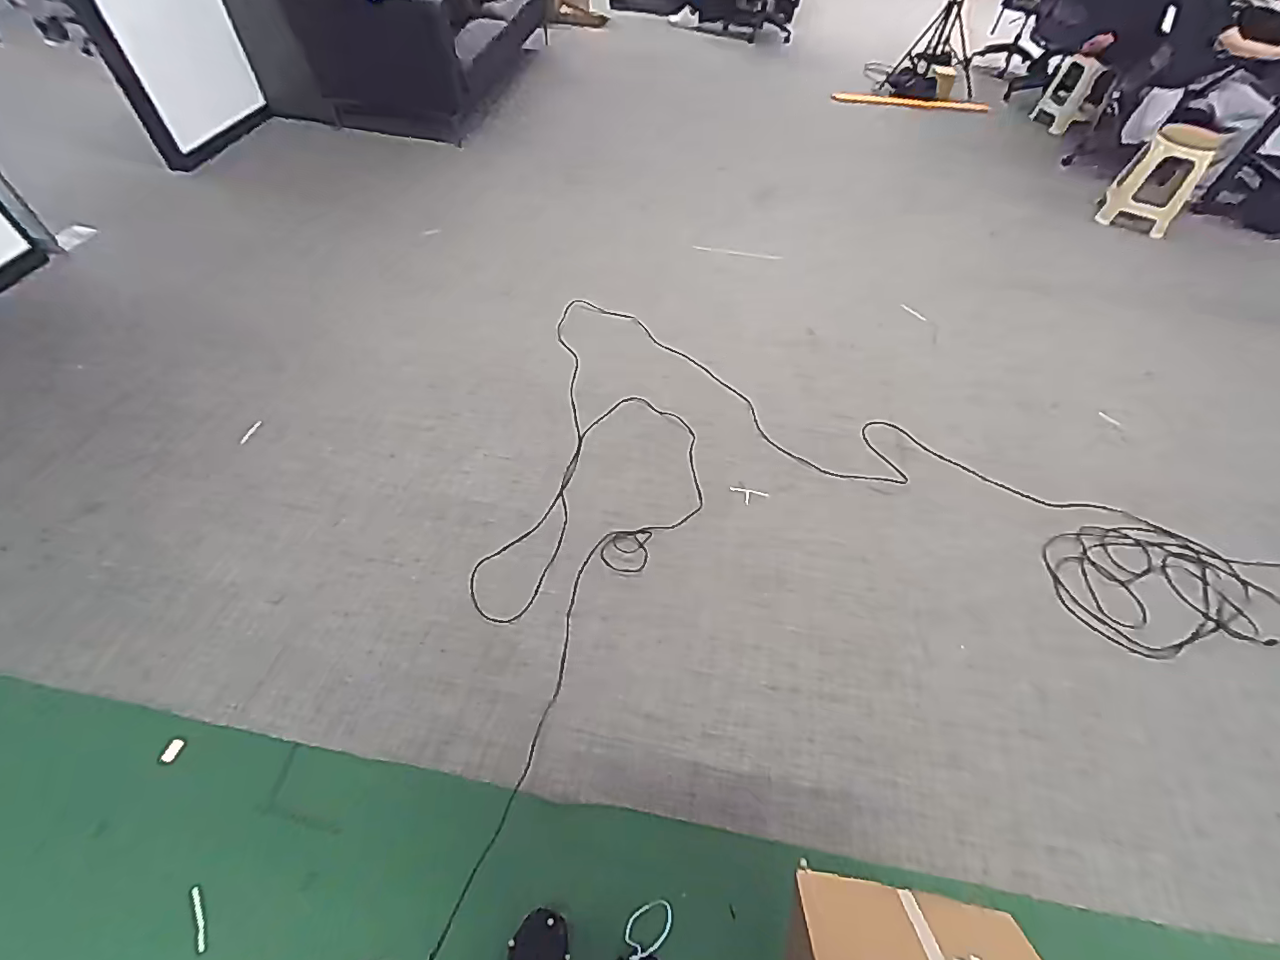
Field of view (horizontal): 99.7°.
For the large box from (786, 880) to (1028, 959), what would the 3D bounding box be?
[{"bbox_3d":[0.346,0.784,0.619,0.320,0.408,0.320,9,92,7],"label":"large box"}]
